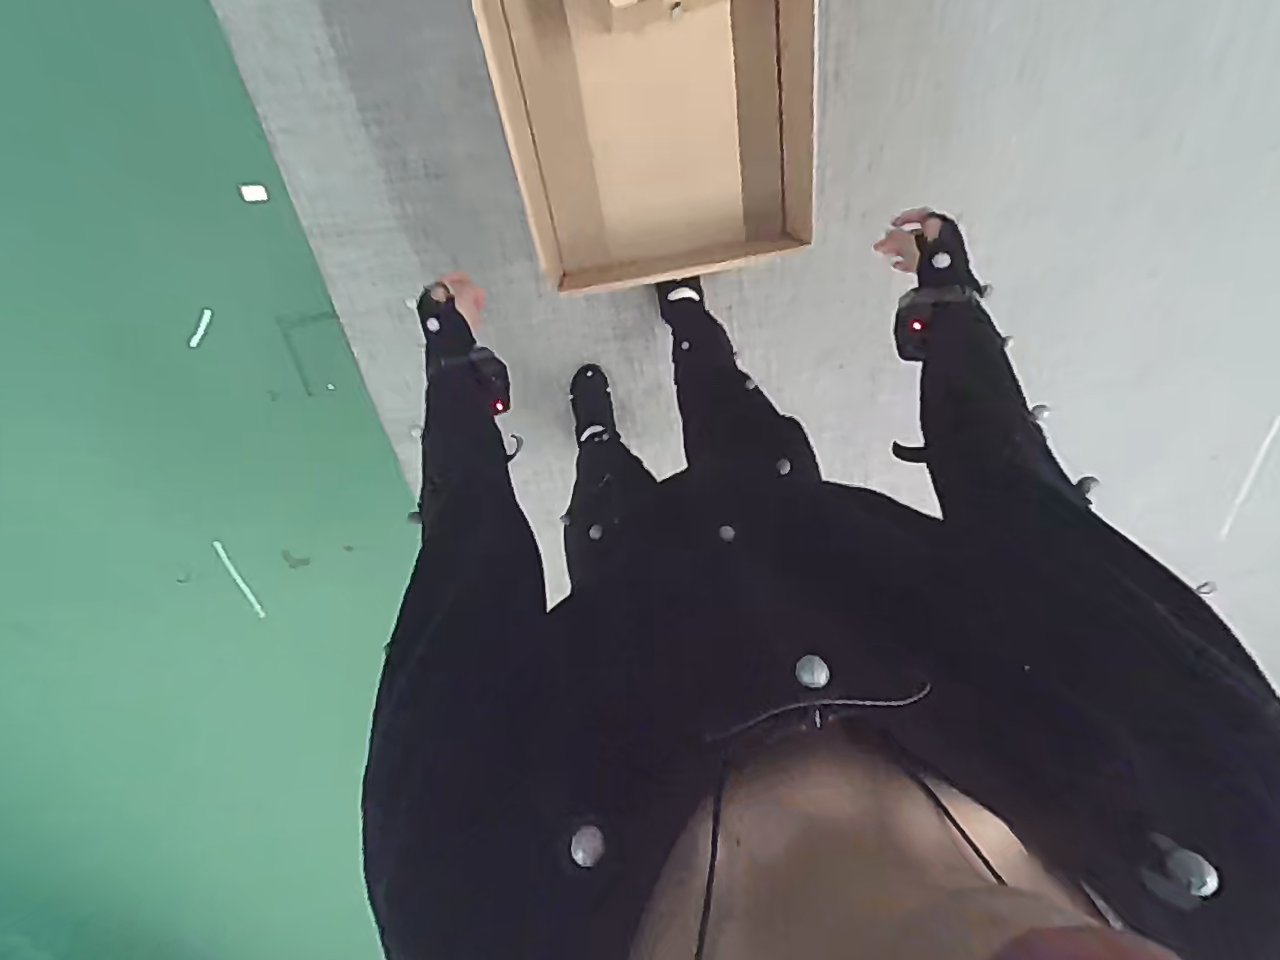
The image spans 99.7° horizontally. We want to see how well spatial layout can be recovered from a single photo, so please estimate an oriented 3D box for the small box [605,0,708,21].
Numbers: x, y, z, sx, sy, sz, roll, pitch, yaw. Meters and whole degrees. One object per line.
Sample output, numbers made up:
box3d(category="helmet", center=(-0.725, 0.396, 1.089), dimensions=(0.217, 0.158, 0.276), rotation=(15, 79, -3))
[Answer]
box3d(category="small box", center=(0.024, -0.661, 0.621), dimensions=(0.168, 0.176, 0.179), rotation=(-13, 123, 4))
